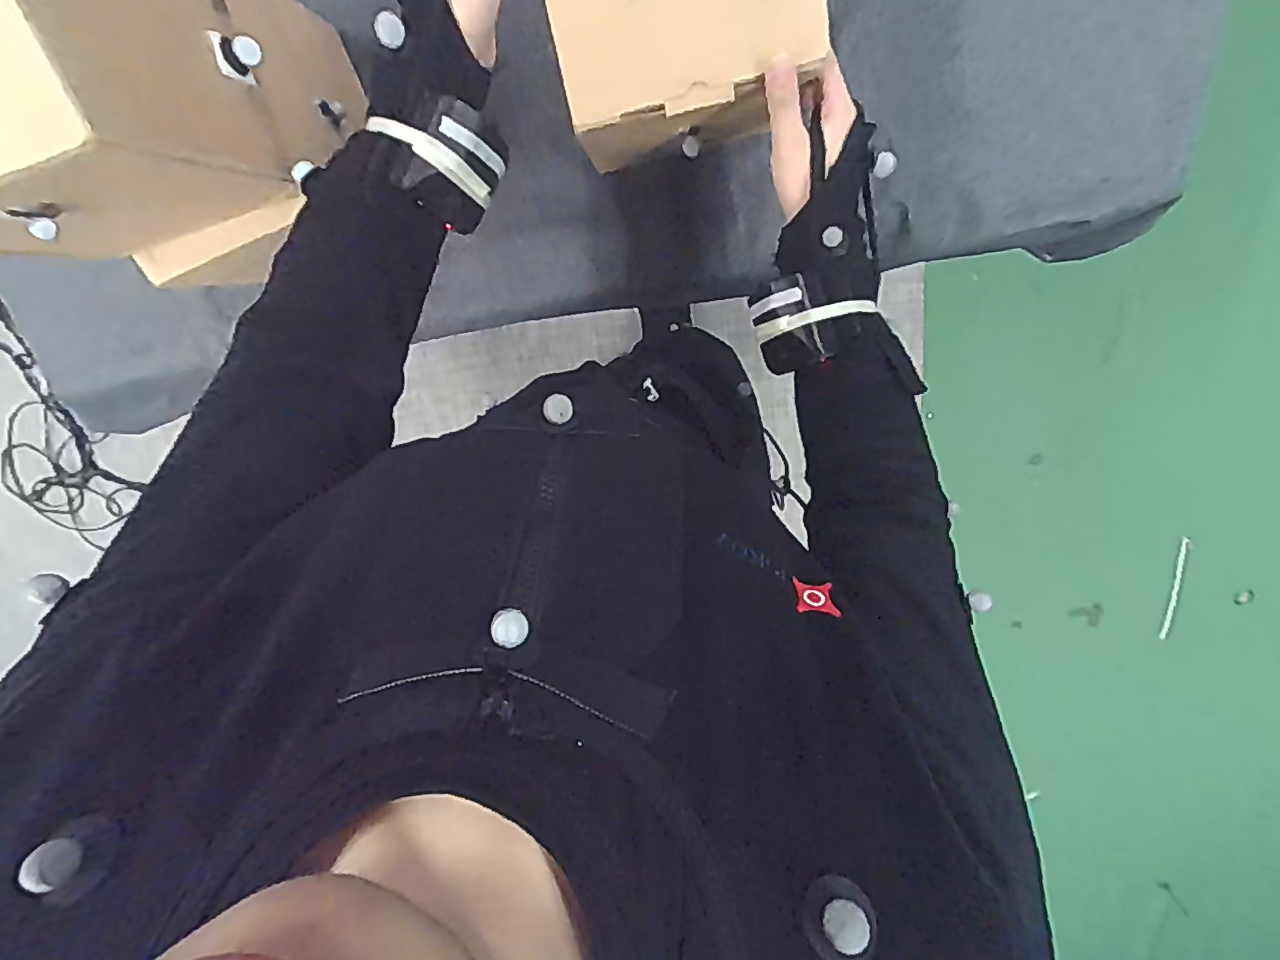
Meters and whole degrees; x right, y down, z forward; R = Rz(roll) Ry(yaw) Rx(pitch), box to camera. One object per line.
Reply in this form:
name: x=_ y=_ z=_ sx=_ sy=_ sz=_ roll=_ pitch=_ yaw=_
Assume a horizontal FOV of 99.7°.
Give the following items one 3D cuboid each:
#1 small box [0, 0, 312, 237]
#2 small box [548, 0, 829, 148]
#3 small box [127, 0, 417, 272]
small box: x=-0.334 y=-0.241 z=0.296 sx=0.179 sy=0.176 sz=0.168 roll=-14 pitch=112 yaw=8
small box: x=0.022 y=-0.356 z=0.382 sx=0.168 sy=0.176 sz=0.179 roll=-12 pitch=112 yaw=6
small box: x=-0.325 y=-0.289 z=0.452 sx=0.168 sy=0.176 sz=0.179 roll=-17 pitch=111 yaw=11
